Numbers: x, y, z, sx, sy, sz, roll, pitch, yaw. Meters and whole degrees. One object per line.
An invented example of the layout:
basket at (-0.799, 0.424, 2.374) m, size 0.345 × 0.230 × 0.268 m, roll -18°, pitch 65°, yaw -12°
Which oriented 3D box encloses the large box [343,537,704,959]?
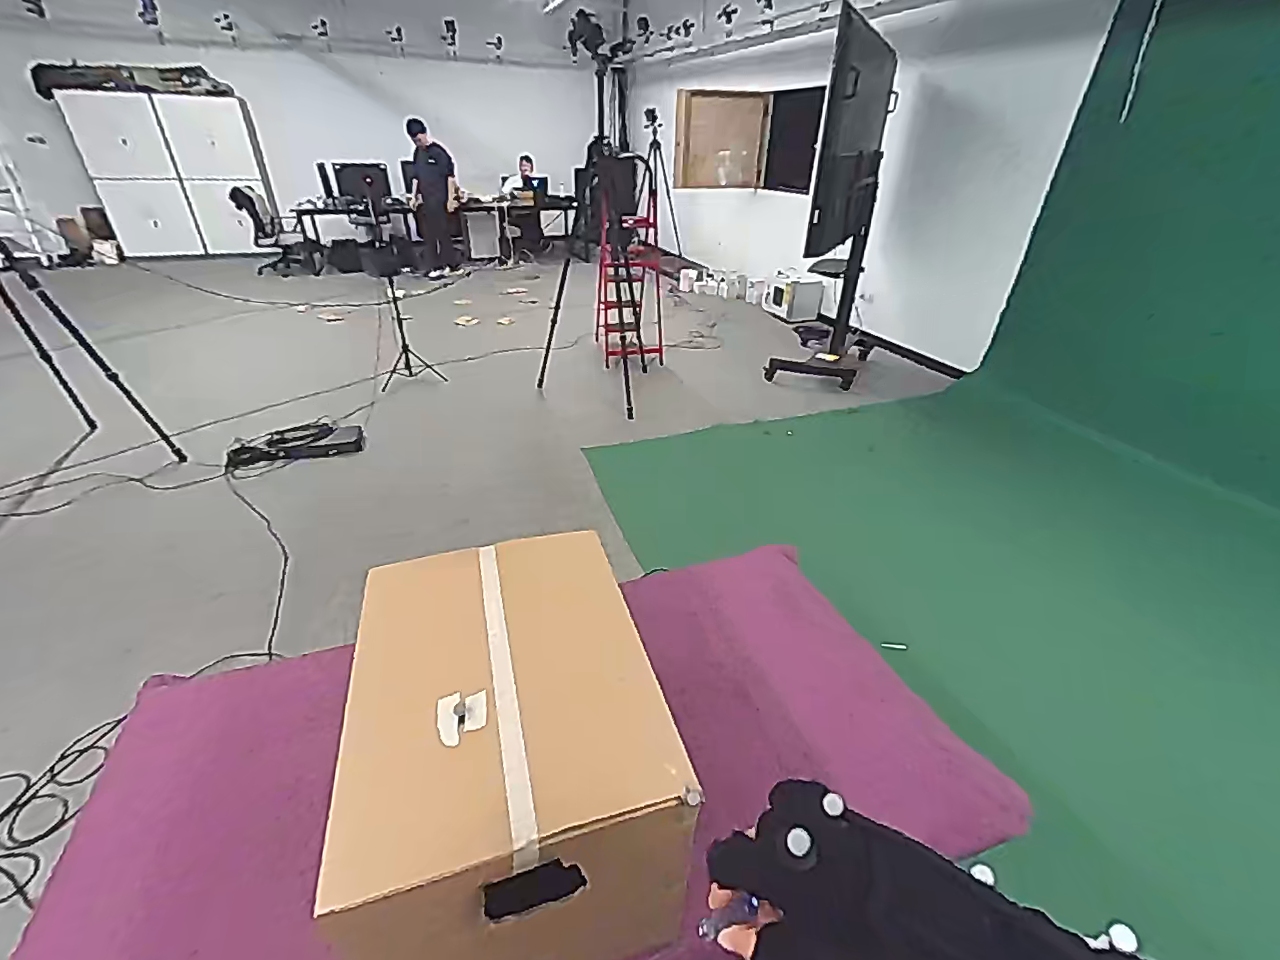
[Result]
large box at (-0.153, 0.331, 0.692) m, size 0.320 × 0.320 × 0.408 m, roll -8°, pitch 34°, yaw -16°
